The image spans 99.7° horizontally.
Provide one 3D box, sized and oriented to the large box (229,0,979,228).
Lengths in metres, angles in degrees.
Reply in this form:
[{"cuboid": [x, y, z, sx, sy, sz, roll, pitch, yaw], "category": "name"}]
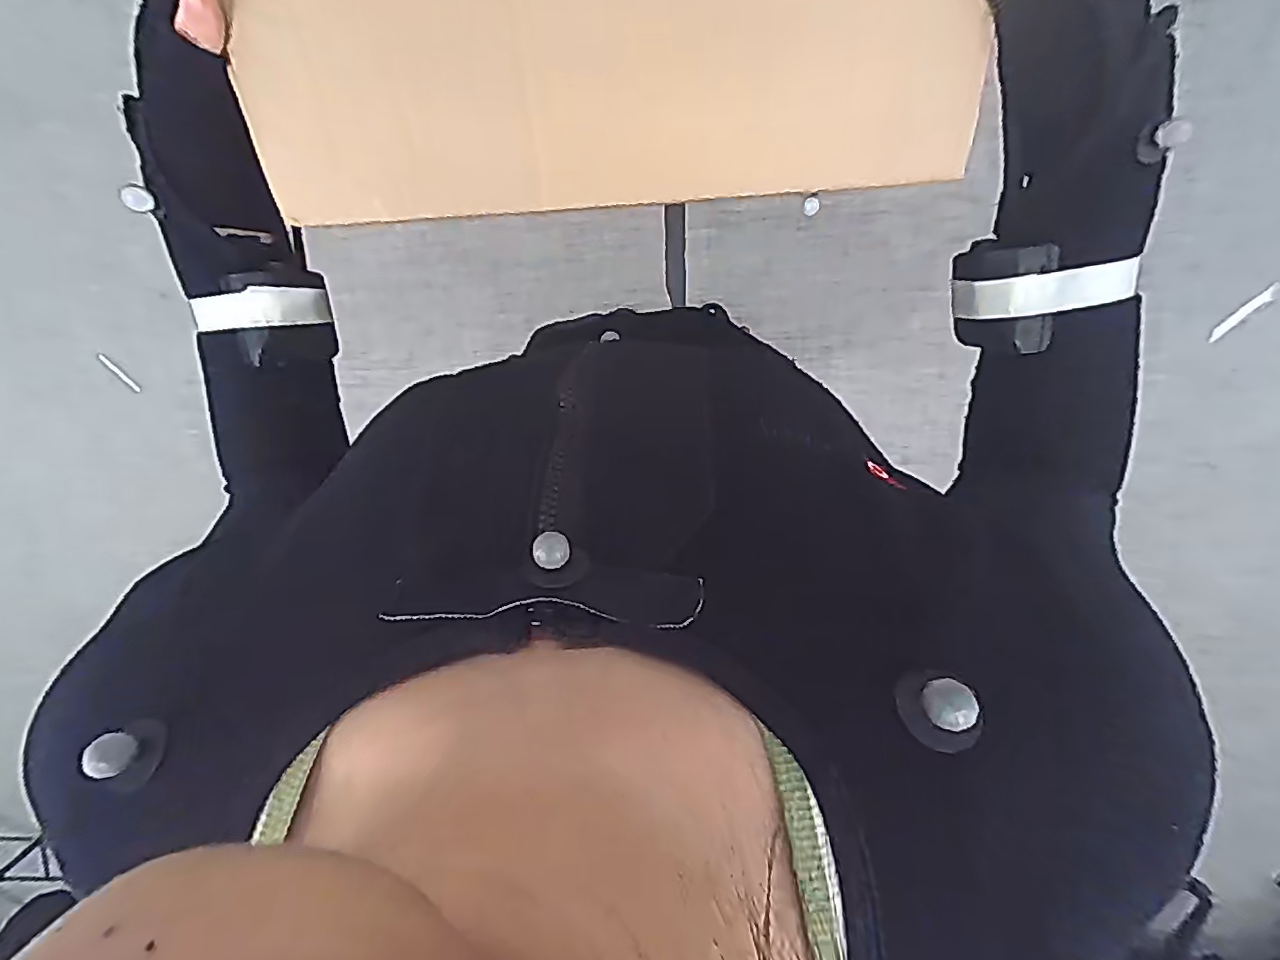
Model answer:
[{"cuboid": [-0.018, -0.379, 0.385, 0.408, 0.320, 0.320, -1, 119, 6], "category": "large box"}]
